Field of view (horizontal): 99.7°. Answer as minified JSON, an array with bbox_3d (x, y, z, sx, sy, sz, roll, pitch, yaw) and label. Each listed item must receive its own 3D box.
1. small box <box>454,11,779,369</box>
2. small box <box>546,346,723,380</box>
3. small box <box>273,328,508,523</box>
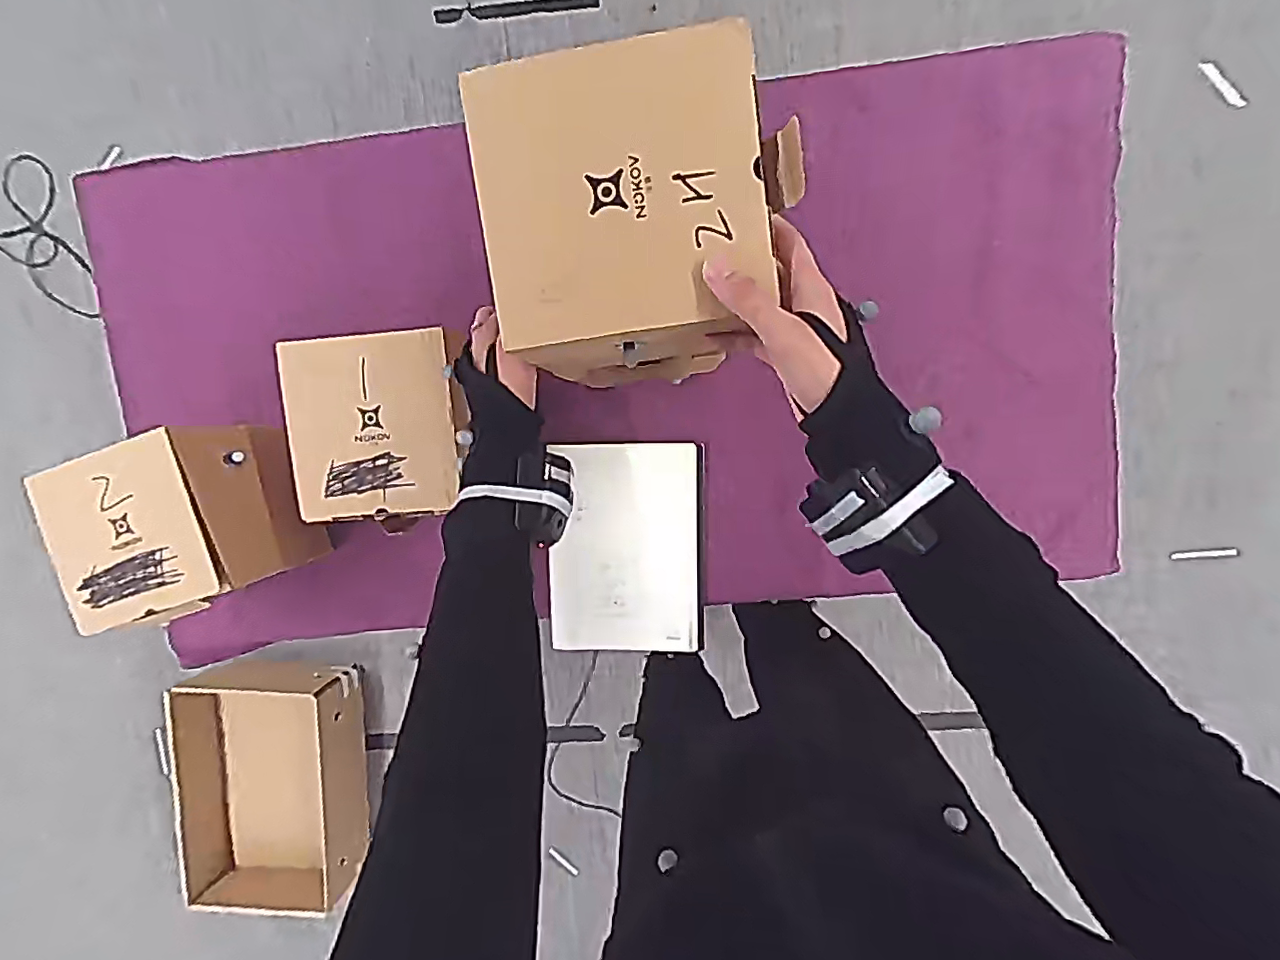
[{"bbox_3d":[-0.009,-0.179,0.394,0.179,0.176,0.168,-8,96,3],"label":"small box"},{"bbox_3d":[-0.006,-0.197,0.558,0.168,0.176,0.179,-5,96,3],"label":"small box"},{"bbox_3d":[-0.251,-0.058,0.588,0.168,0.176,0.179,-4,95,4],"label":"small box"}]
